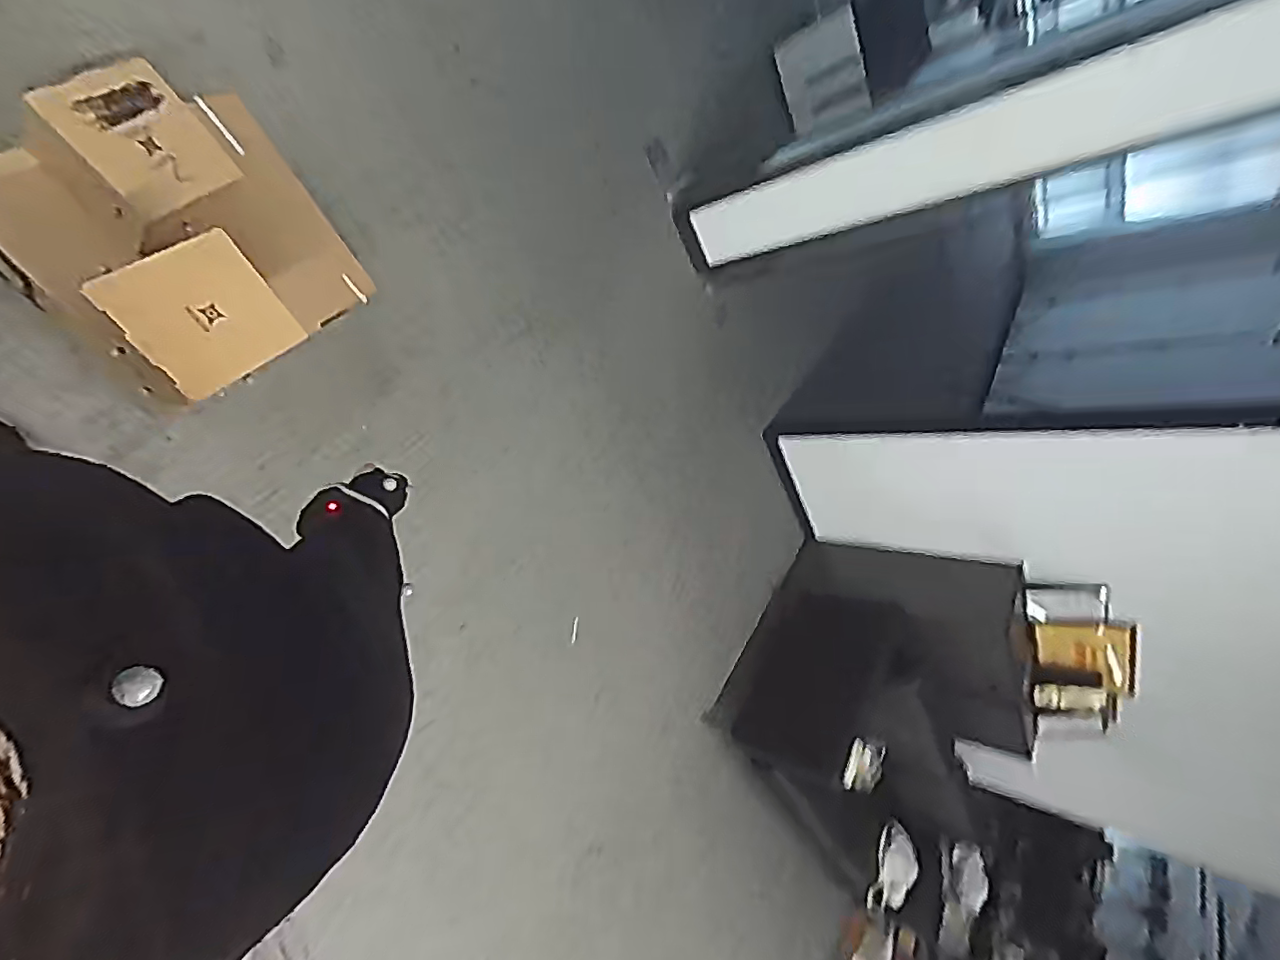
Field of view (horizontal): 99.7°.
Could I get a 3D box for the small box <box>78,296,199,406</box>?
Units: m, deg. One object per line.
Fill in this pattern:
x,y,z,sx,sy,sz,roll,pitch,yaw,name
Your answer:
-0.742,-0.236,0.874,0.168,0.176,0.179,-50,127,-33,small box

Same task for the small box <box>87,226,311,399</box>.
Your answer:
-0.622,-0.230,0.765,0.179,0.176,0.168,-50,127,-32,small box
